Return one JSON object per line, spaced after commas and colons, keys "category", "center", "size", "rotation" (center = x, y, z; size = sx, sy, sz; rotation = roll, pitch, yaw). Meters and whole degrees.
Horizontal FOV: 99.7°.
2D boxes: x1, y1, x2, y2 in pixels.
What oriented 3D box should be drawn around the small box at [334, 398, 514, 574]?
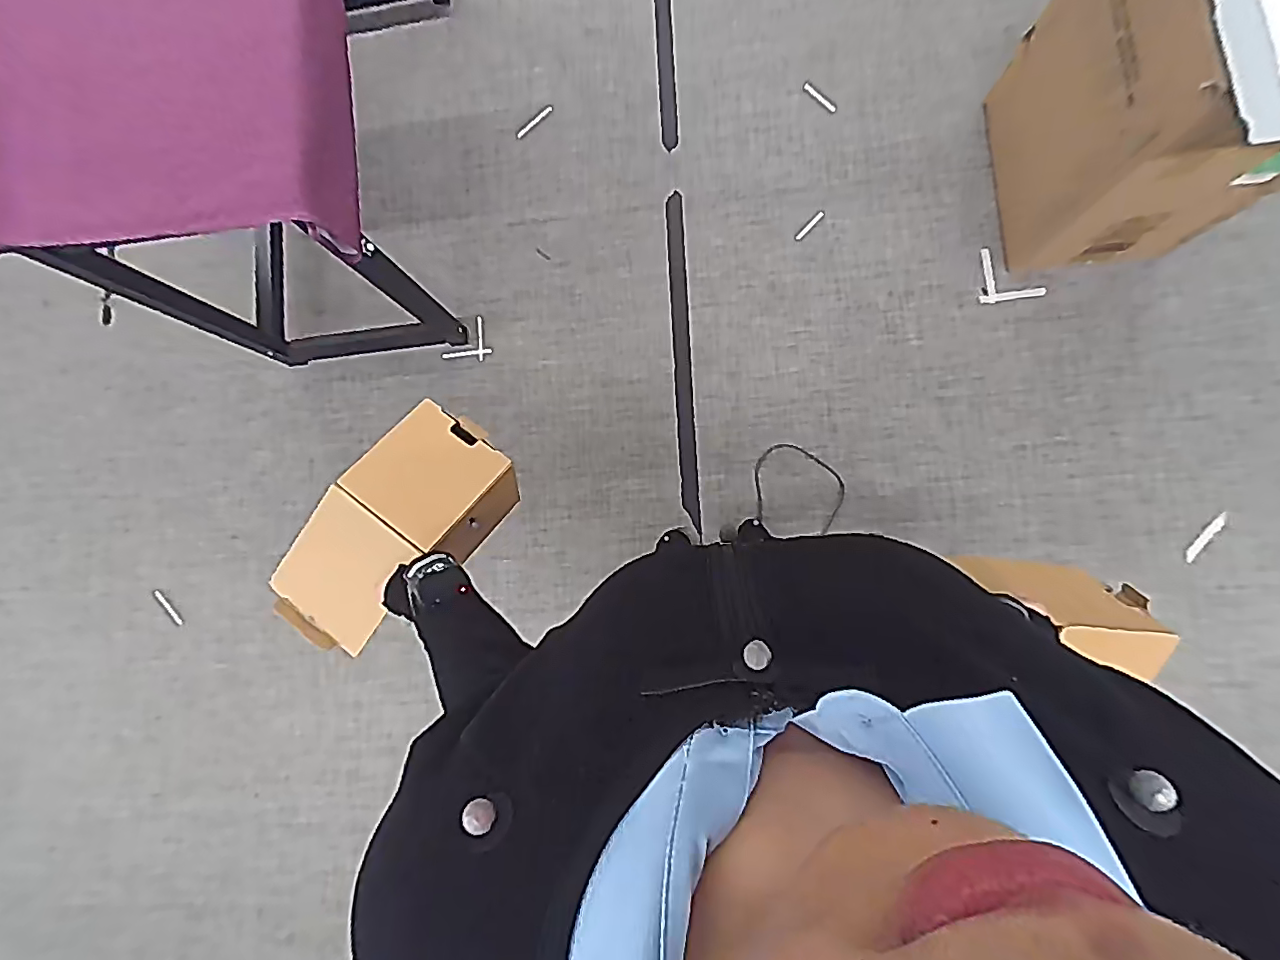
{"category": "small box", "center": [-0.305, 0.019, 0.814], "size": [0.168, 0.176, 0.179], "rotation": [37, 68, 6]}
